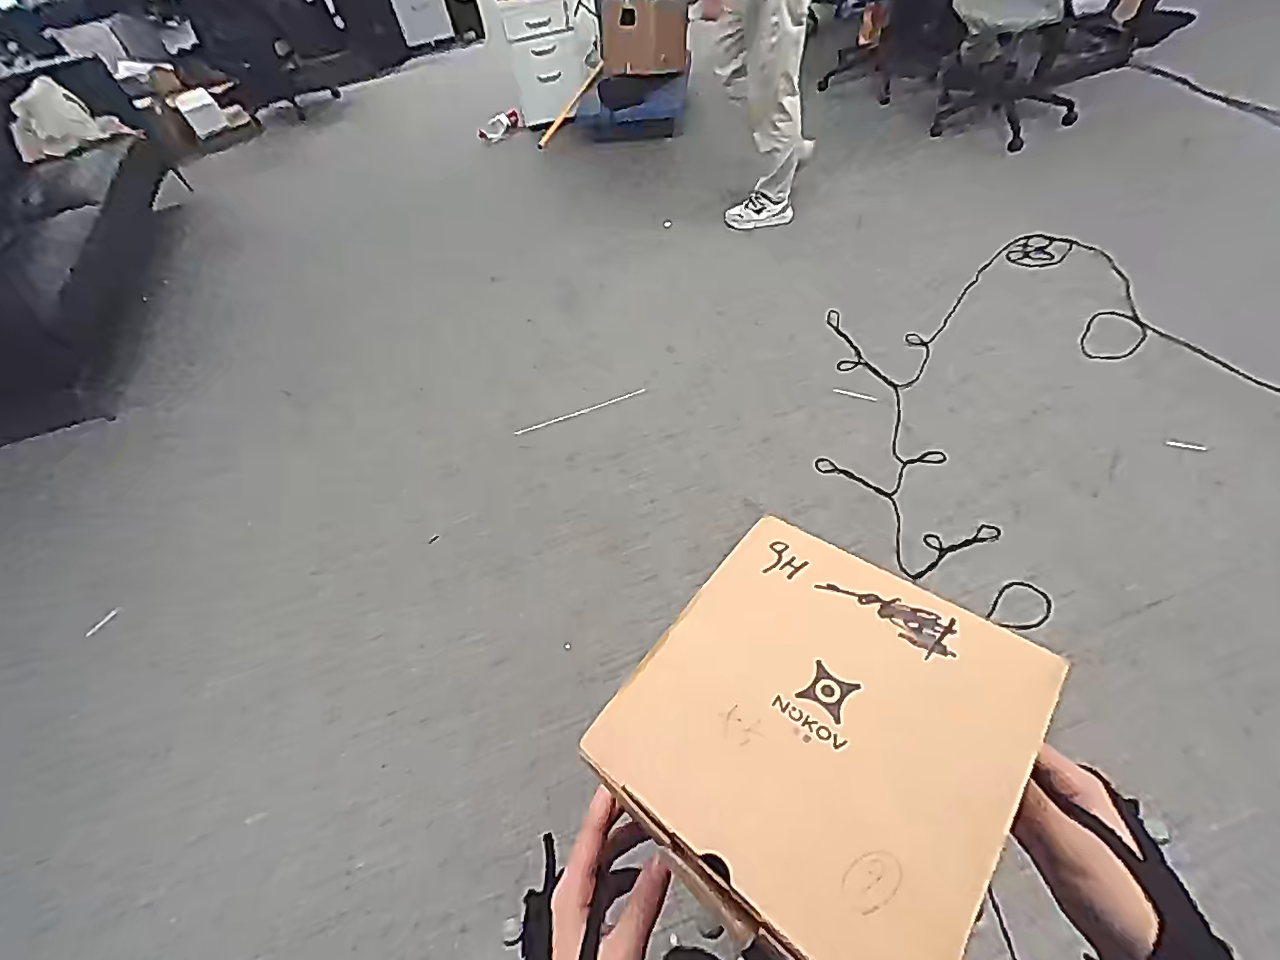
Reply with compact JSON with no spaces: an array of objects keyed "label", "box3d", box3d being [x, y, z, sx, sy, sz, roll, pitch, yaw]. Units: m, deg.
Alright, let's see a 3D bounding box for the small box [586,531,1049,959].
[{"label":"small box","box3d":[0.099,0.171,0.327,0.168,0.176,0.179,27,59,32]}]
